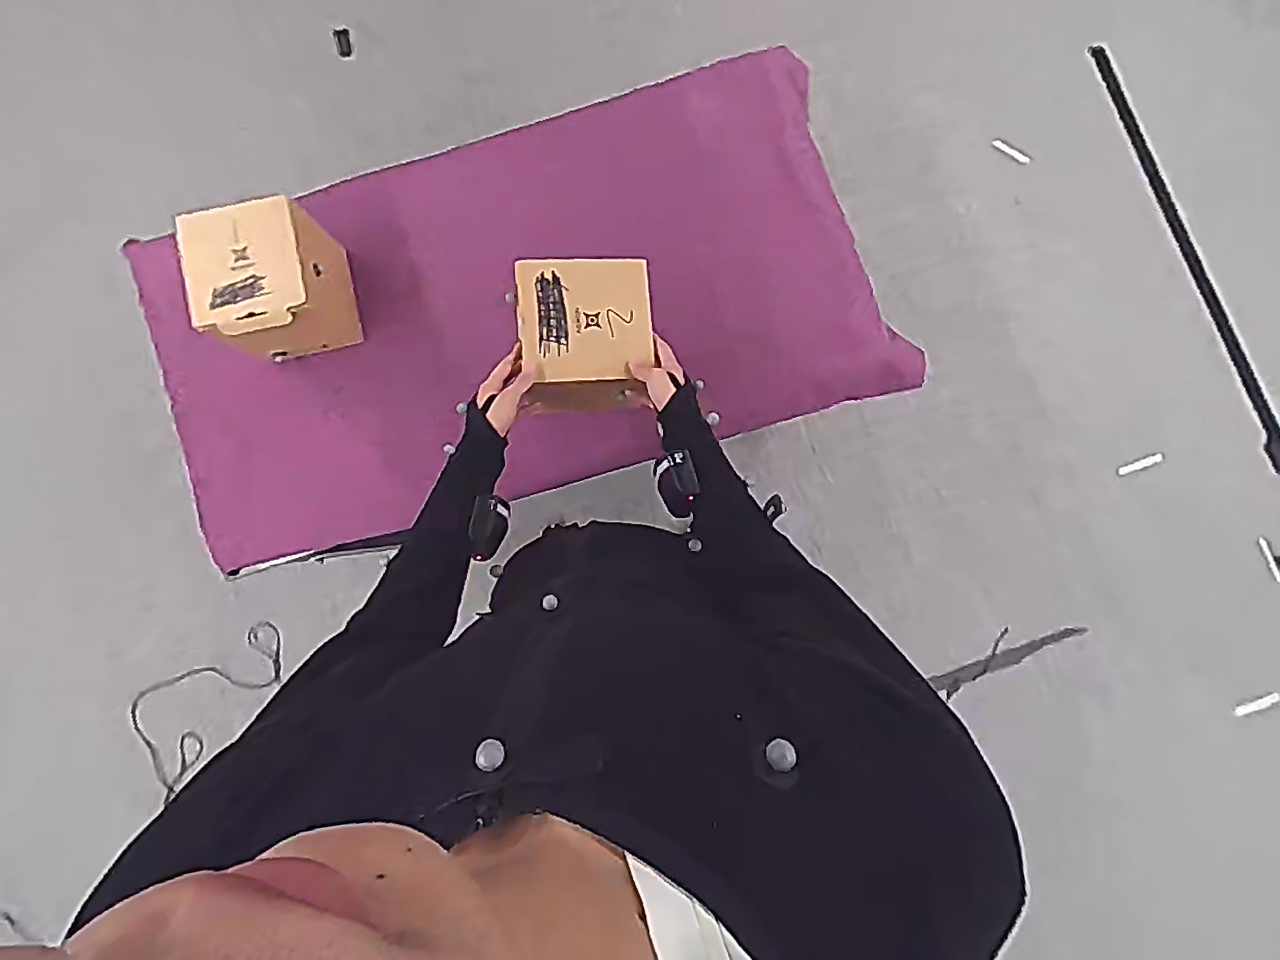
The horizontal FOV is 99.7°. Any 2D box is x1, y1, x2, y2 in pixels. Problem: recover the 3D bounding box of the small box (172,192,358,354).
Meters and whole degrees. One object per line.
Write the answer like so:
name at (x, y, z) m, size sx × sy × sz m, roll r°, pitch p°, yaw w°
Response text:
small box at (-0.577, -0.311, 0.855) m, size 0.168 × 0.176 × 0.179 m, roll -14°, pitch 87°, yaw -2°
